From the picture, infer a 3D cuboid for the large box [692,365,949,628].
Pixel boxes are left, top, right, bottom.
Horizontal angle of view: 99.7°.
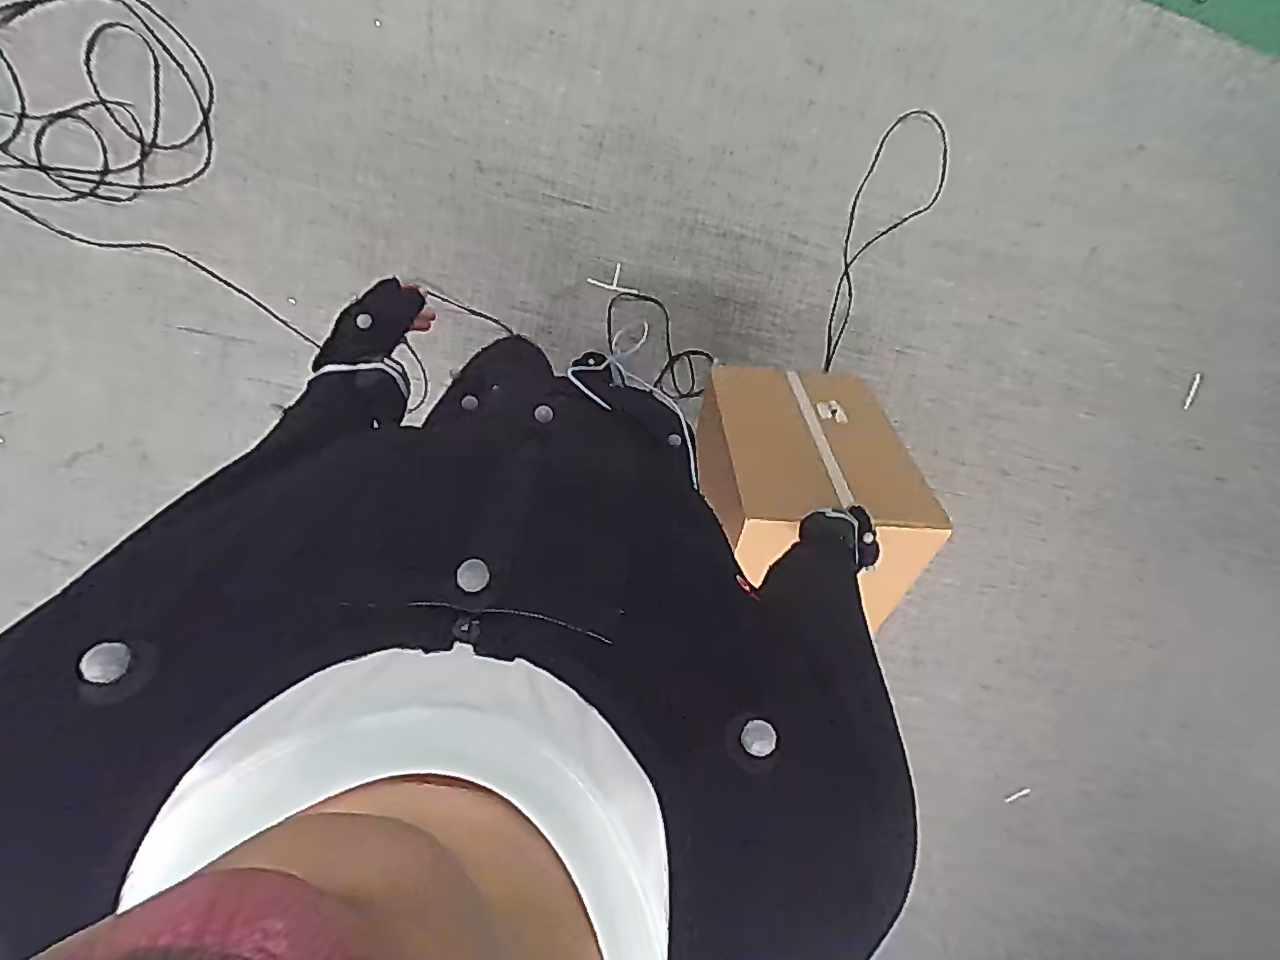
[{"bbox_3d":[0.287,0.028,1.024,0.320,0.408,0.320,4,133,-5],"label":"large box"}]
